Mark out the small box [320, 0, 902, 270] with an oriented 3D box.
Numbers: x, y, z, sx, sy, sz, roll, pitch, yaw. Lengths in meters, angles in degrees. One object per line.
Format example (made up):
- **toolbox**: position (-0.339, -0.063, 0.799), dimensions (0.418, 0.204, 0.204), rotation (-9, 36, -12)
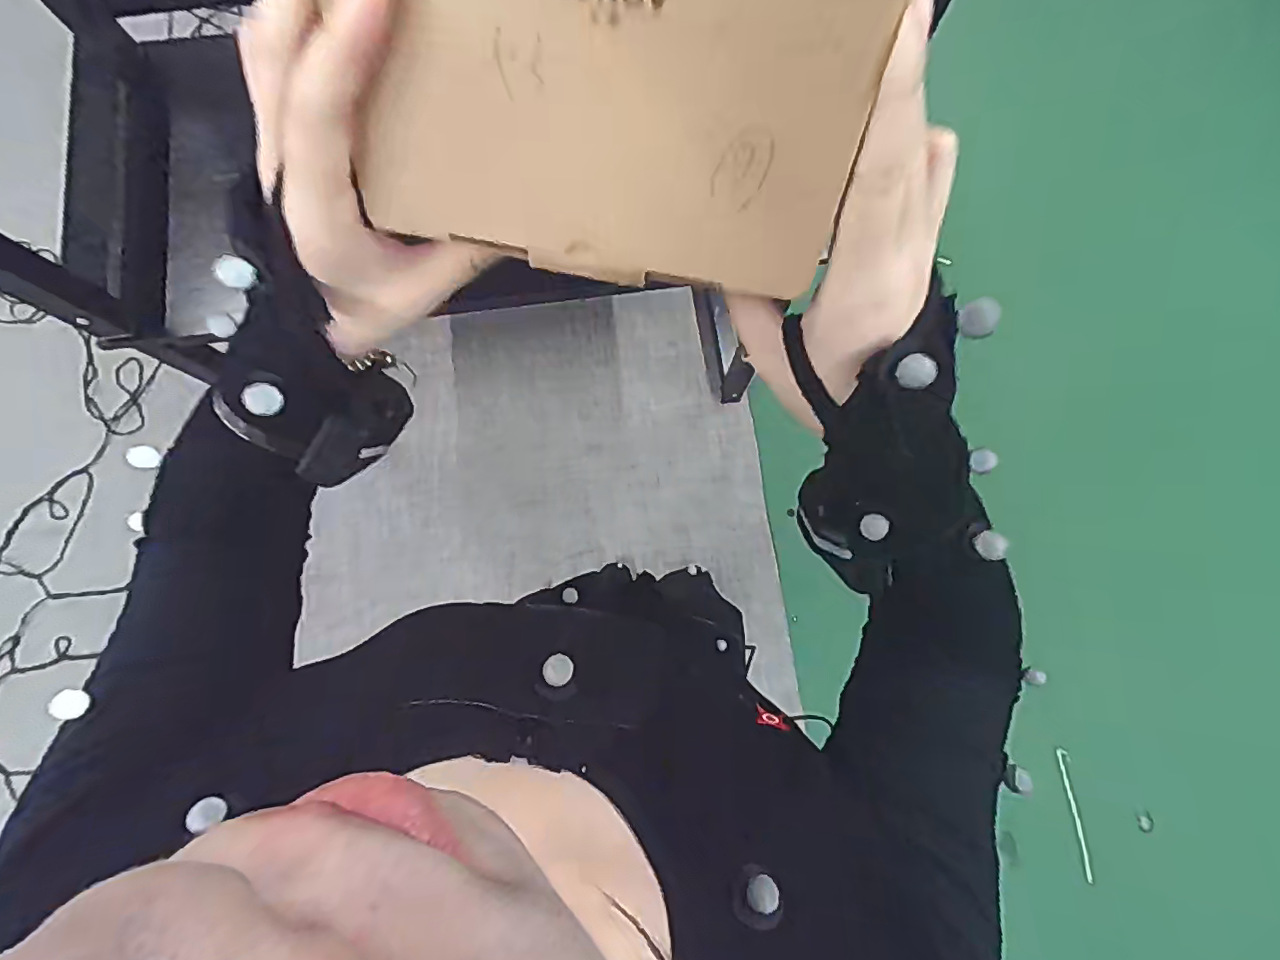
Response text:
- **small box**: position (0.002, -0.205, 0.193), dimensions (0.168, 0.179, 0.176), rotation (10, 42, -1)
